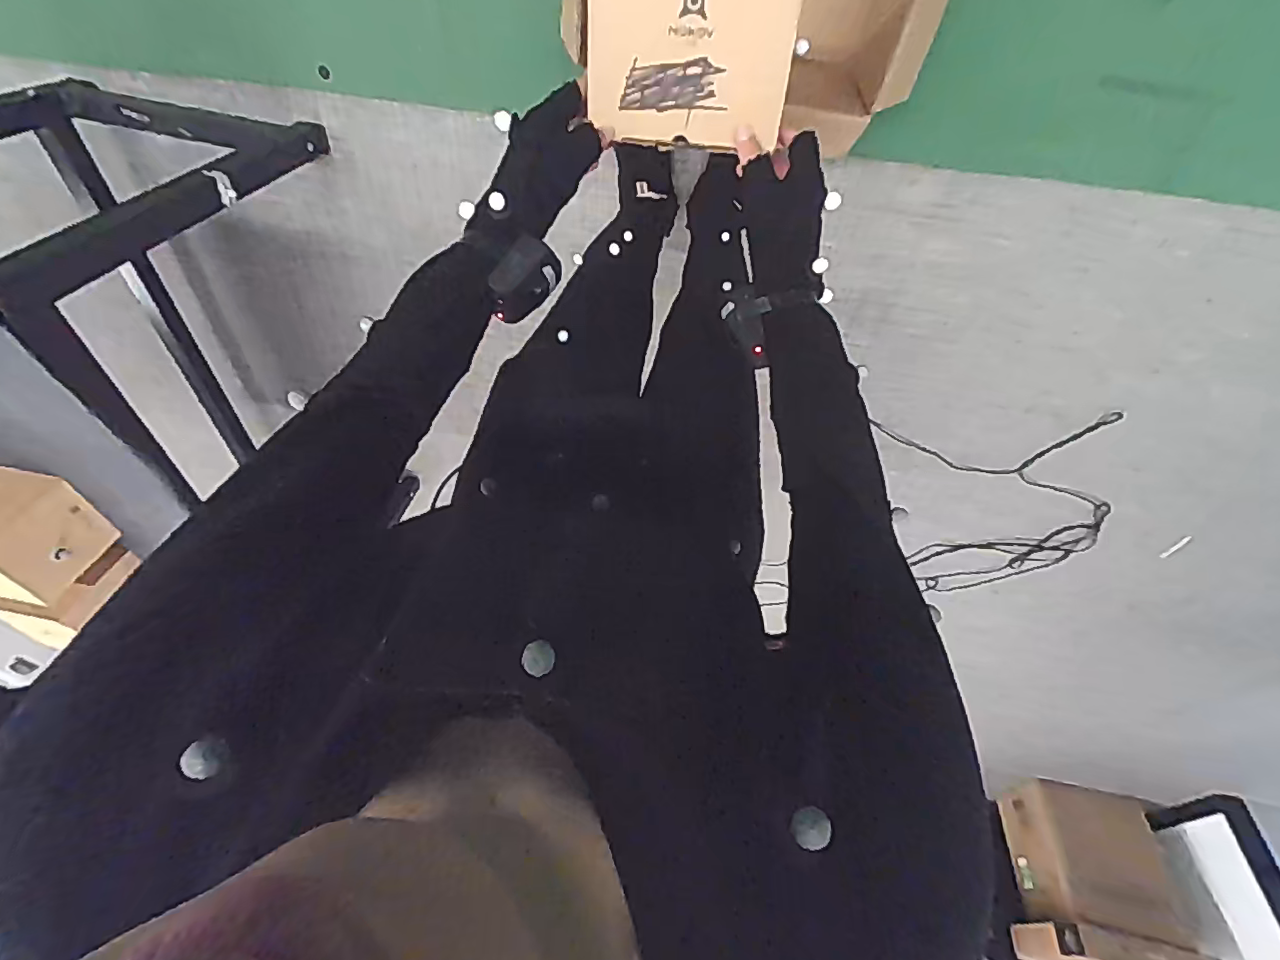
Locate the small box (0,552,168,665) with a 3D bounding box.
[{"bbox_3d":[-1.149,0.253,1.112,0.179,0.176,0.168,9,137,5],"label":"small box"}]

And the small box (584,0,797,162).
[{"bbox_3d":[0.050,-0.402,0.486,0.168,0.176,0.179,8,126,5],"label":"small box"}]

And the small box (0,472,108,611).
[{"bbox_3d":[-1.107,0.104,0.950,0.179,0.176,0.168,10,137,5],"label":"small box"}]
